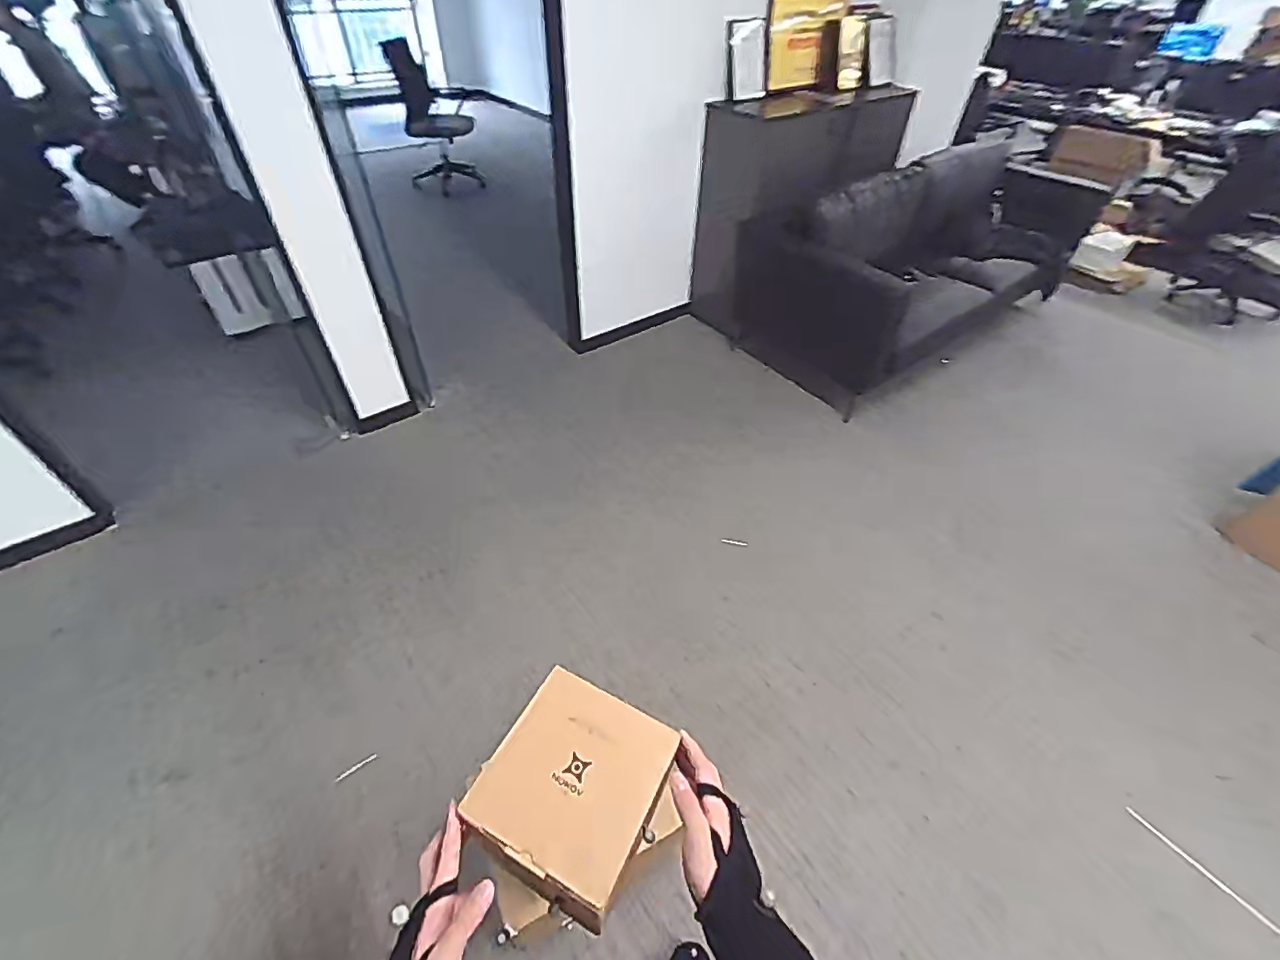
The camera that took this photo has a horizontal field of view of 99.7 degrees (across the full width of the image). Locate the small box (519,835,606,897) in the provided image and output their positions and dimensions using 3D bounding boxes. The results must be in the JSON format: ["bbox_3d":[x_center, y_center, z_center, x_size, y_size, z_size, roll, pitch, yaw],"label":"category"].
[{"bbox_3d":[-0.176,0.690,1.074,0.168,0.176,0.179,-22,51,-23],"label":"small box"}]

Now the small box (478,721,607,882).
[{"bbox_3d":[-0.167,0.574,0.959,0.168,0.176,0.179,-23,50,-23],"label":"small box"}]
